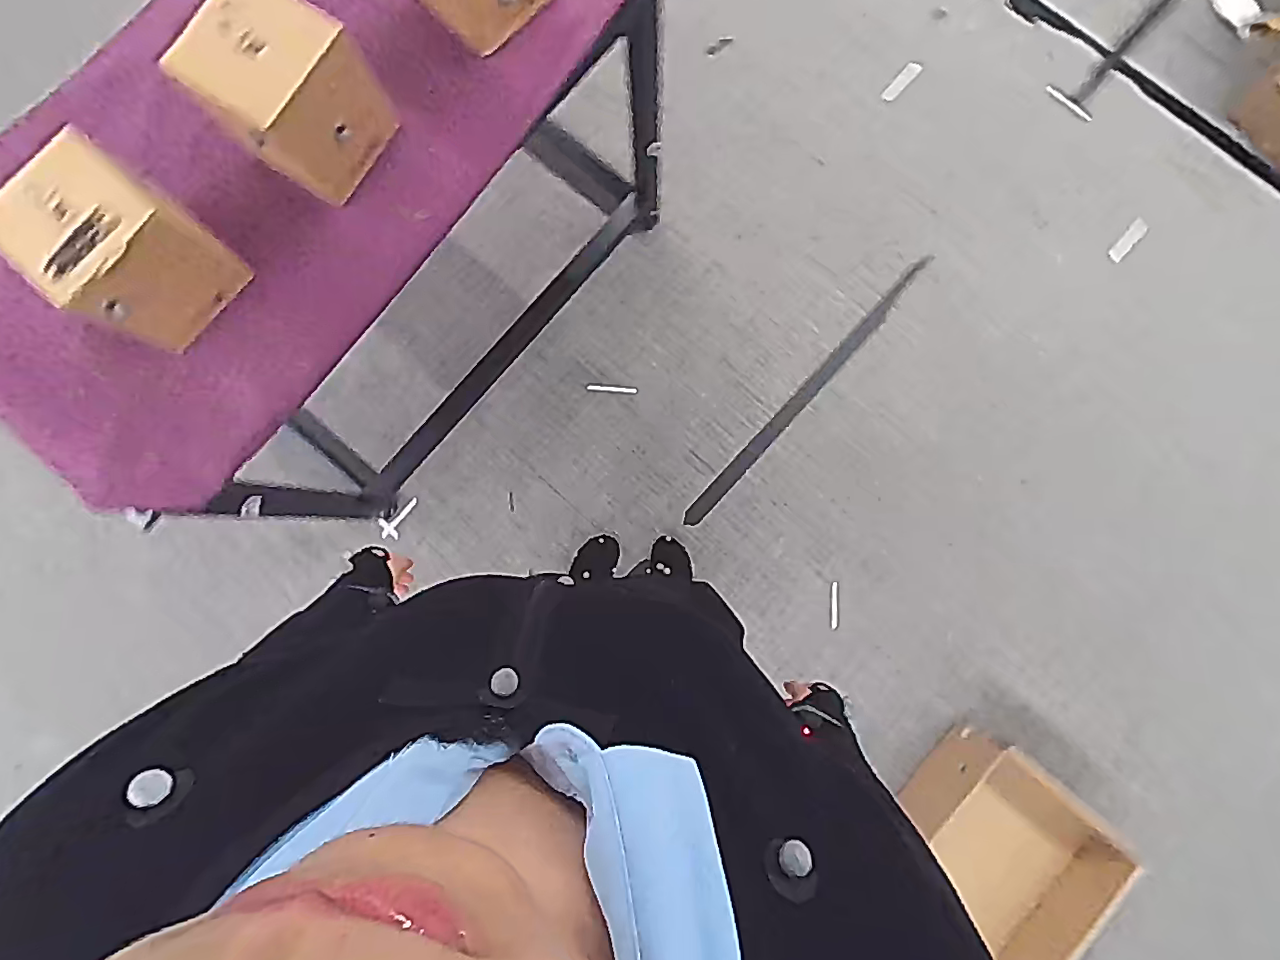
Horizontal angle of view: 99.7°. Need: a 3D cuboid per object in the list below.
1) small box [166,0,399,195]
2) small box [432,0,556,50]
[{"bbox_3d":[-0.482,-0.542,0.761,0.179,0.176,0.168,33,85,4],"label":"small box"},{"bbox_3d":[-0.240,-0.788,0.780,0.168,0.176,0.179,-44,84,-3],"label":"small box"}]
